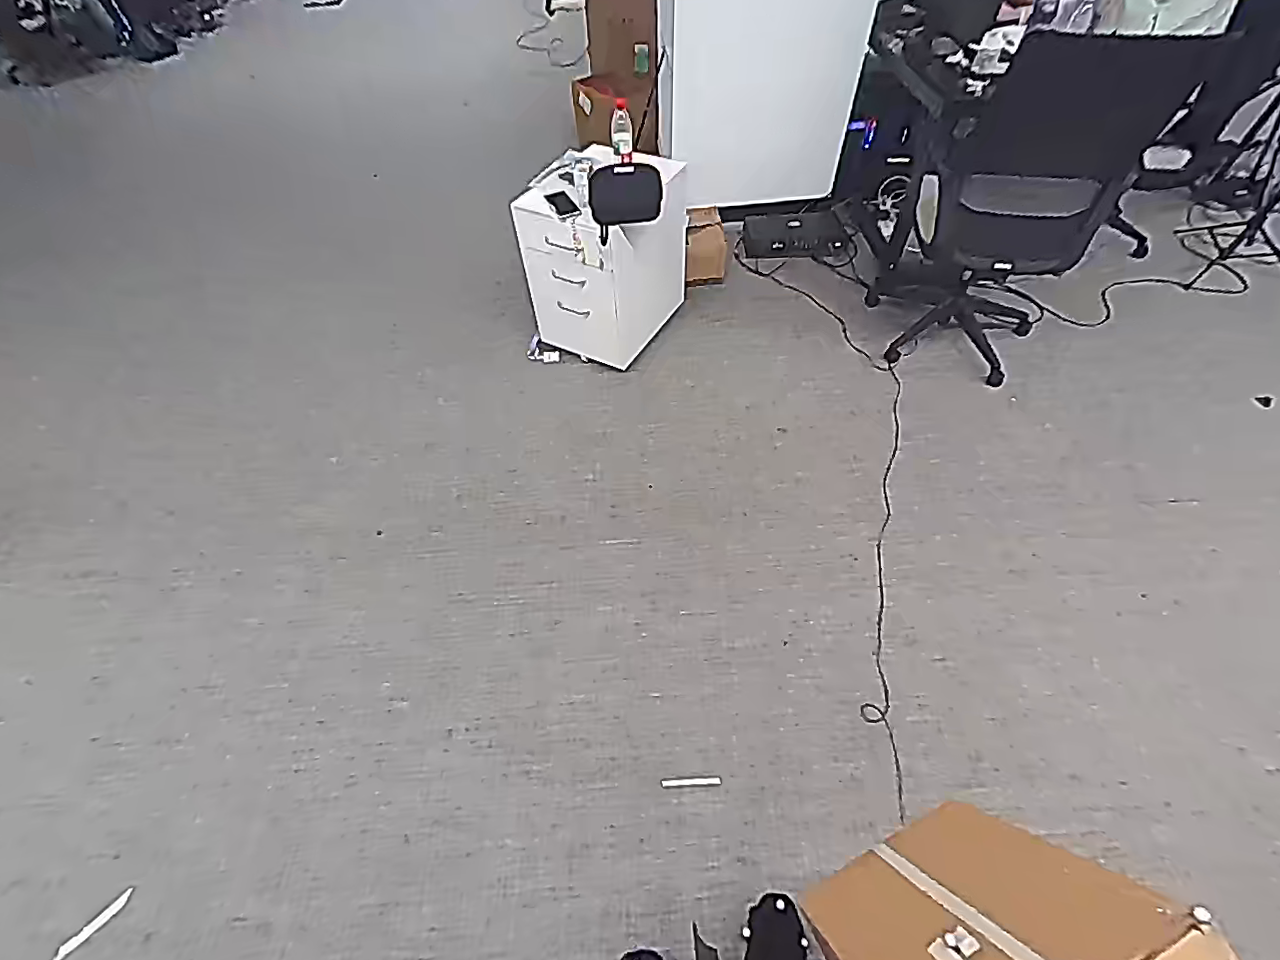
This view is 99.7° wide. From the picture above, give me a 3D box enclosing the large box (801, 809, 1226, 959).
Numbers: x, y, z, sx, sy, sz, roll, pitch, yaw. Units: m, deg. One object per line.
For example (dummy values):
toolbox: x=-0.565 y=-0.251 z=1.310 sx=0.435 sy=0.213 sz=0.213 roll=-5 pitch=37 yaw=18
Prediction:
large box: x=0.464 y=0.681 z=0.651 sx=0.320 sy=0.408 sz=0.320 roll=-25 pitch=77 yaw=-11
